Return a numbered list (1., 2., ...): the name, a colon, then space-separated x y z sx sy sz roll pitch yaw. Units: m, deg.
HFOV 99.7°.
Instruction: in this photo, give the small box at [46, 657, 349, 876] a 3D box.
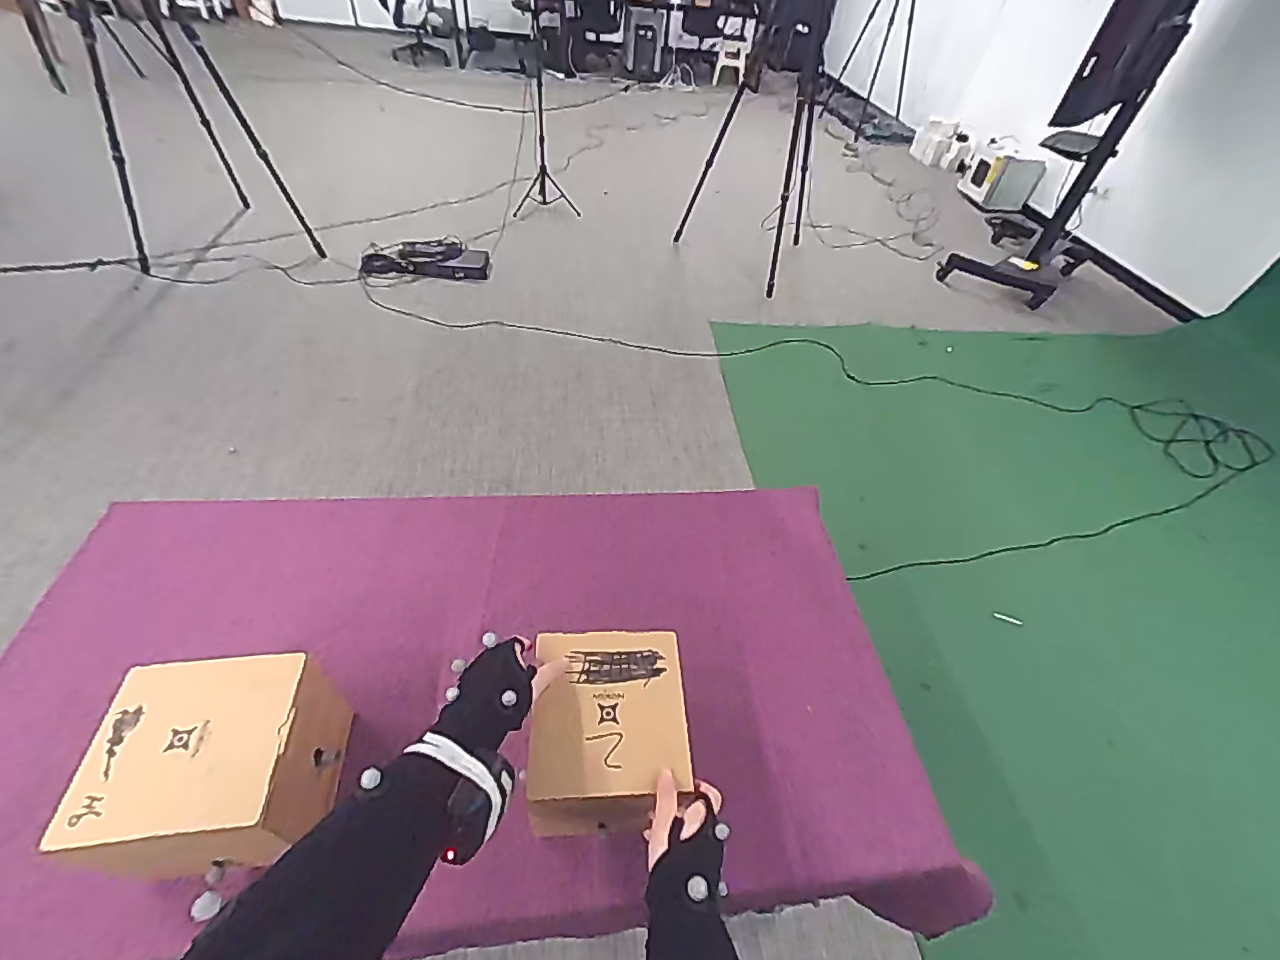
1. small box: -0.441 0.309 0.585 0.179 0.176 0.168 -1 47 -10
